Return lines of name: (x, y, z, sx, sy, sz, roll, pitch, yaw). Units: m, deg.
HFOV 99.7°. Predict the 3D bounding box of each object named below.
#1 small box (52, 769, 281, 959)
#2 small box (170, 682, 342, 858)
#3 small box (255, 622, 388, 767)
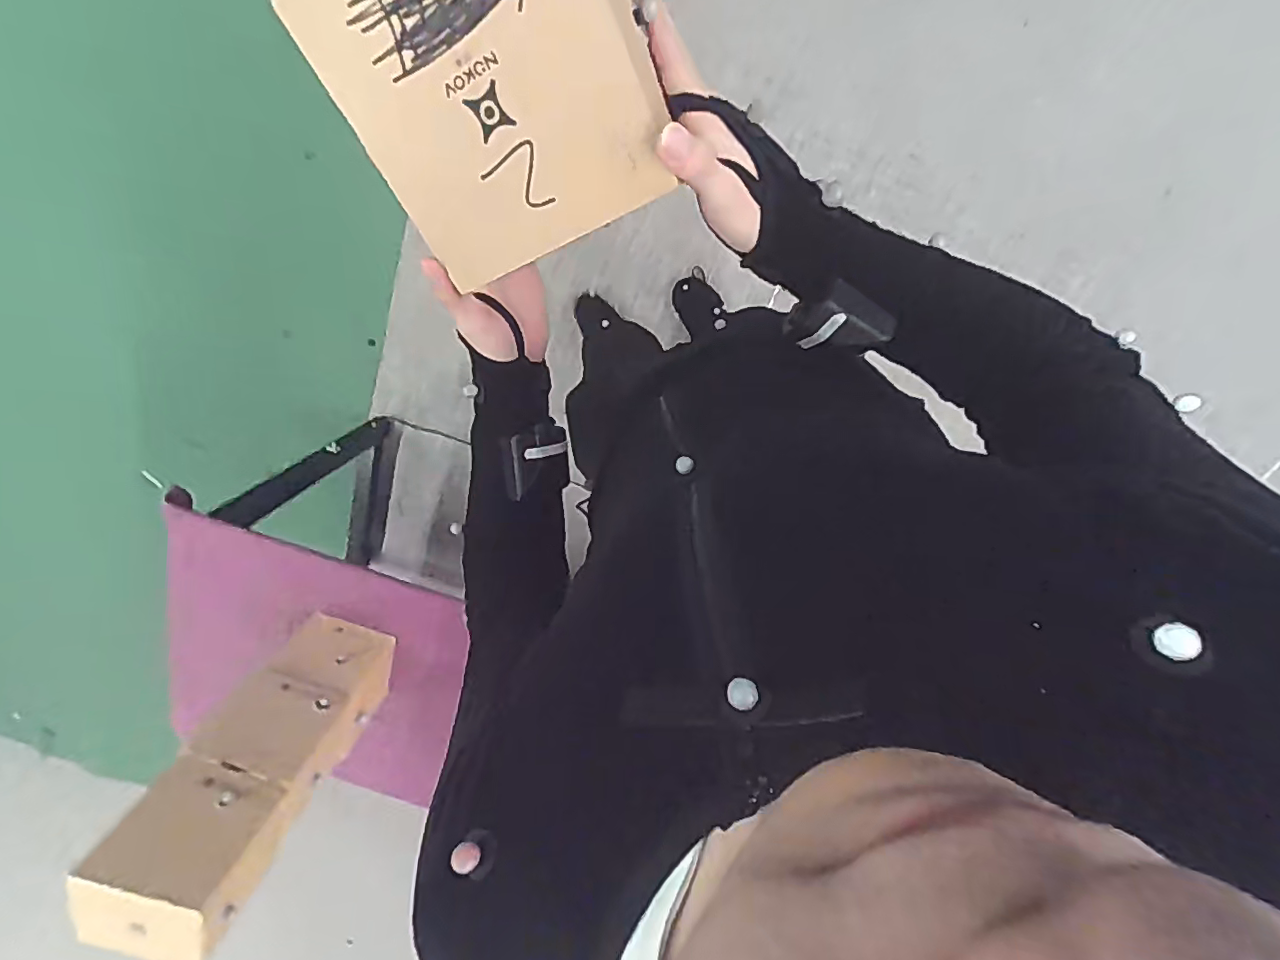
small box: (-0.628, 0.540, 0.739, 0.168, 0.176, 0.179, 21, 115, -6)
small box: (-0.617, 0.465, 0.884, 0.168, 0.176, 0.179, 21, 116, -5)
small box: (-0.606, 0.404, 1.037, 0.168, 0.176, 0.179, 18, 116, -4)
